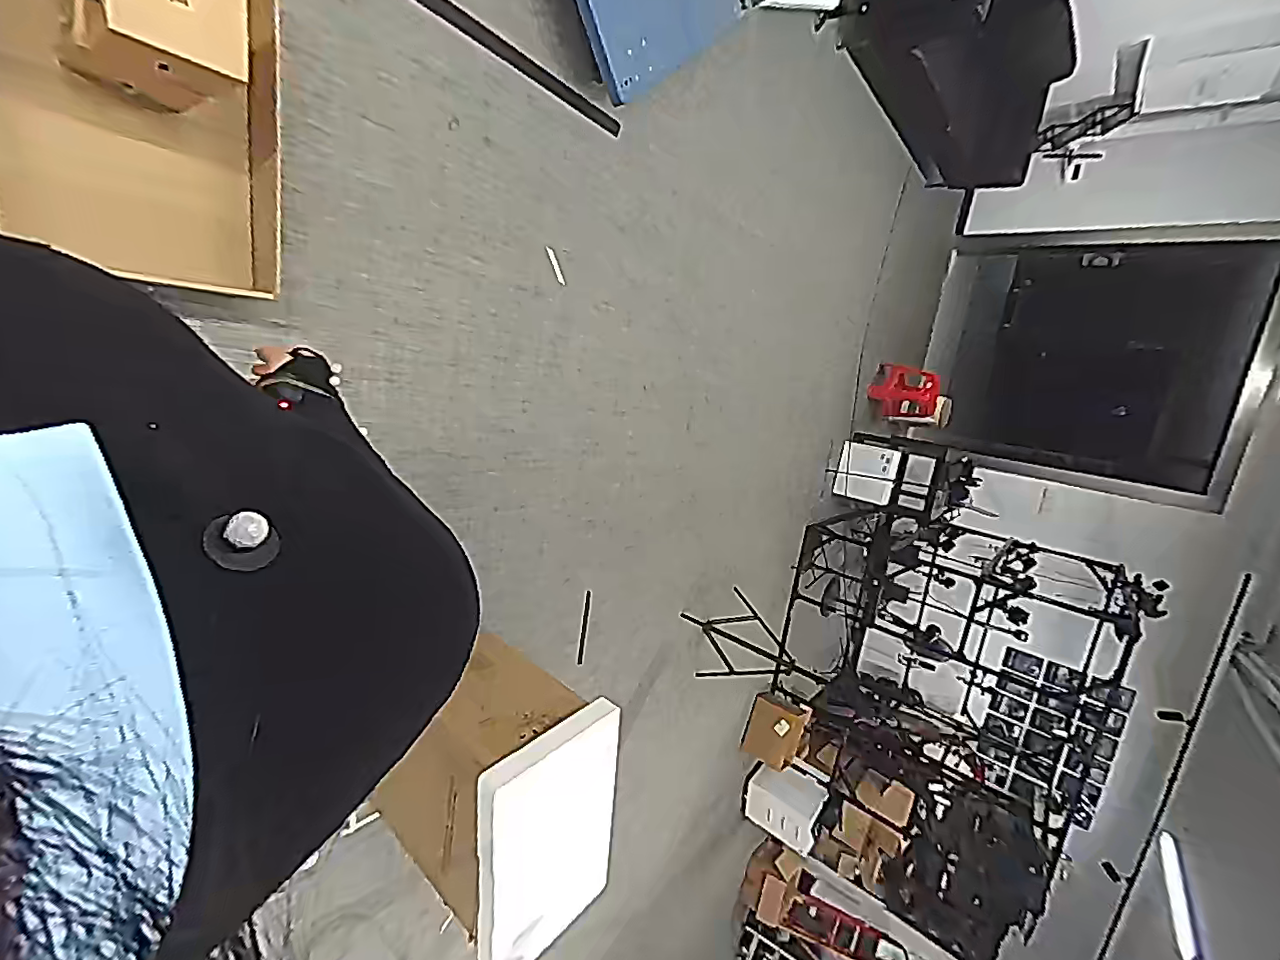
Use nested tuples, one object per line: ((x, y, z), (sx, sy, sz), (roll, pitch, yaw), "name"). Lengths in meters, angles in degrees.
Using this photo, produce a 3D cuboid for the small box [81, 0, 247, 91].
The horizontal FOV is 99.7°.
((-0.724, -0.730, 0.823), (0.168, 0.176, 0.179), (-8, 112, -52), "small box")
